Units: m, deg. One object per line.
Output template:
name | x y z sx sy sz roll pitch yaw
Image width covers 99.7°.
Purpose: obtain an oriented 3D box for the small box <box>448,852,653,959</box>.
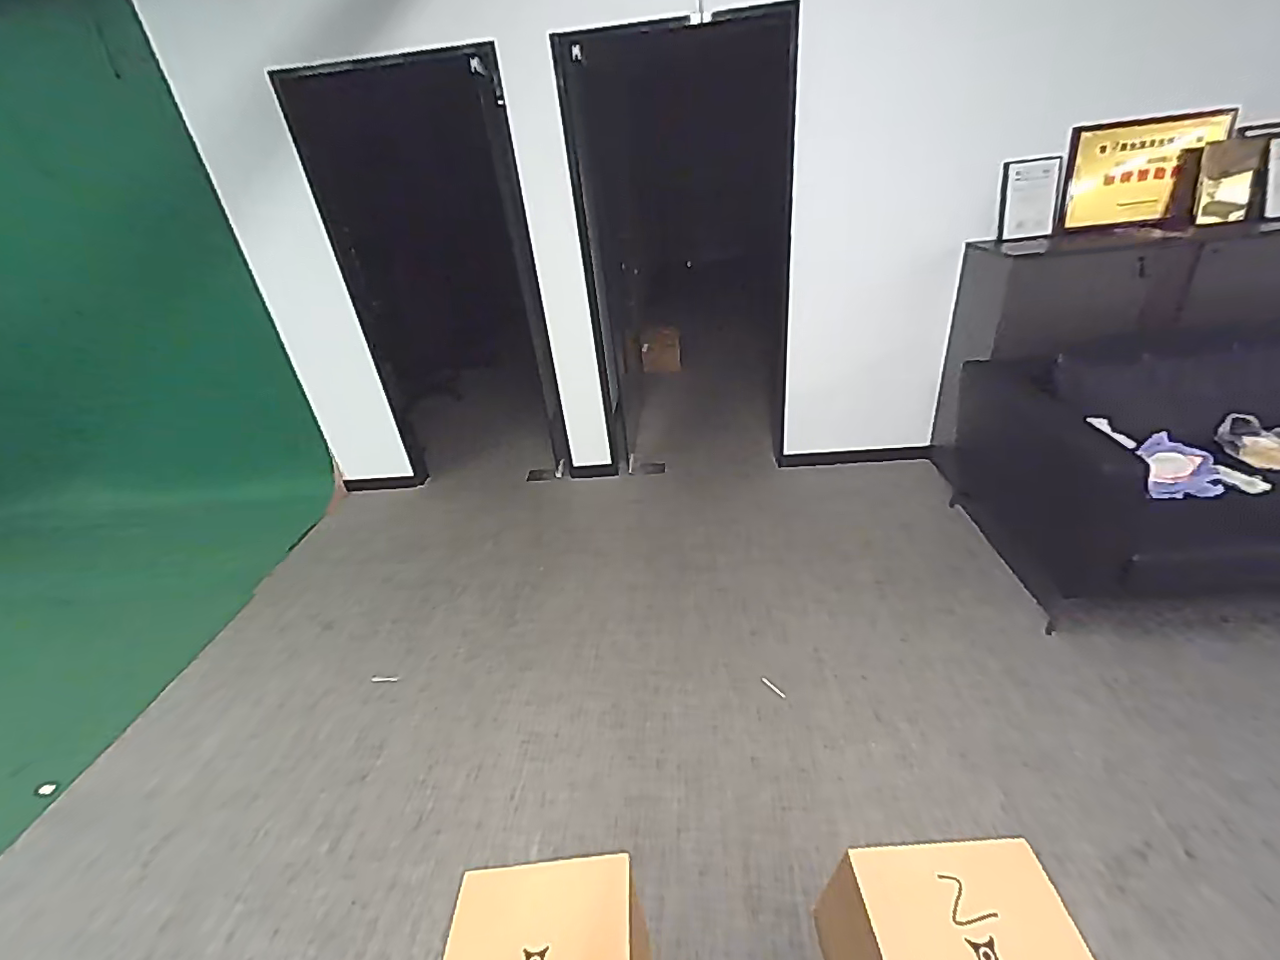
small box | -0.075 0.481 0.486 0.168 0.176 0.179 -8 25 2
